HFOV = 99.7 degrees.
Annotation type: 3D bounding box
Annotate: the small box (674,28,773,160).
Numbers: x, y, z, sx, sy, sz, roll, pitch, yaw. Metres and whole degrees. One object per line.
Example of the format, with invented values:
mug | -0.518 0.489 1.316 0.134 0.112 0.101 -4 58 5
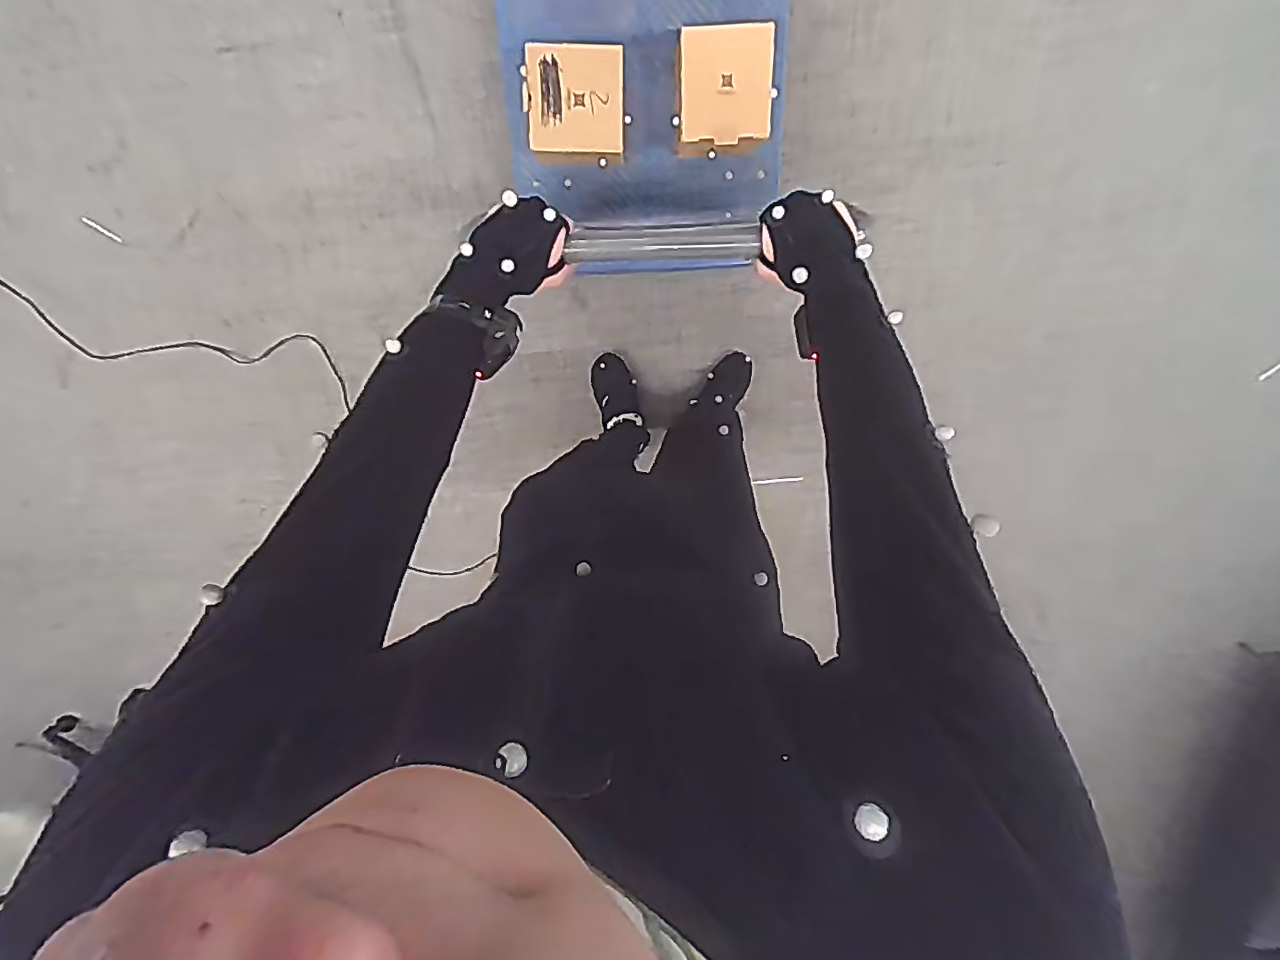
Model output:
small box | 0.154 -0.741 1.053 0.168 0.176 0.179 -3 113 0
